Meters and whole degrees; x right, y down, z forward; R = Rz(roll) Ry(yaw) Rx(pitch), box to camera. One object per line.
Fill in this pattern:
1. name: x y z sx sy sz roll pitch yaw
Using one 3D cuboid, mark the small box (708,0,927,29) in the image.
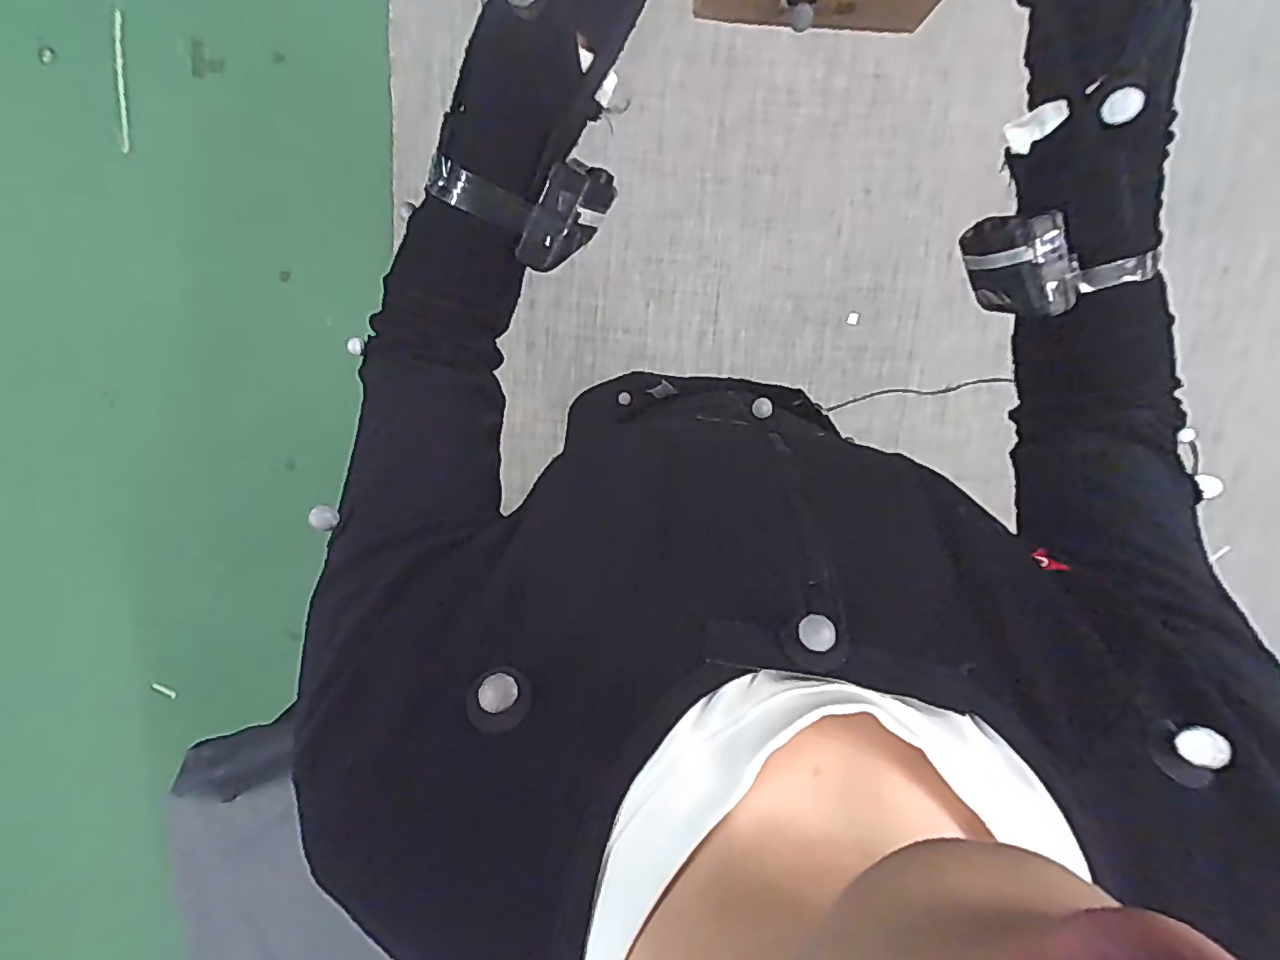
1. small box: 0.124 -0.399 0.295 0.168 0.176 0.179 2 104 -1
